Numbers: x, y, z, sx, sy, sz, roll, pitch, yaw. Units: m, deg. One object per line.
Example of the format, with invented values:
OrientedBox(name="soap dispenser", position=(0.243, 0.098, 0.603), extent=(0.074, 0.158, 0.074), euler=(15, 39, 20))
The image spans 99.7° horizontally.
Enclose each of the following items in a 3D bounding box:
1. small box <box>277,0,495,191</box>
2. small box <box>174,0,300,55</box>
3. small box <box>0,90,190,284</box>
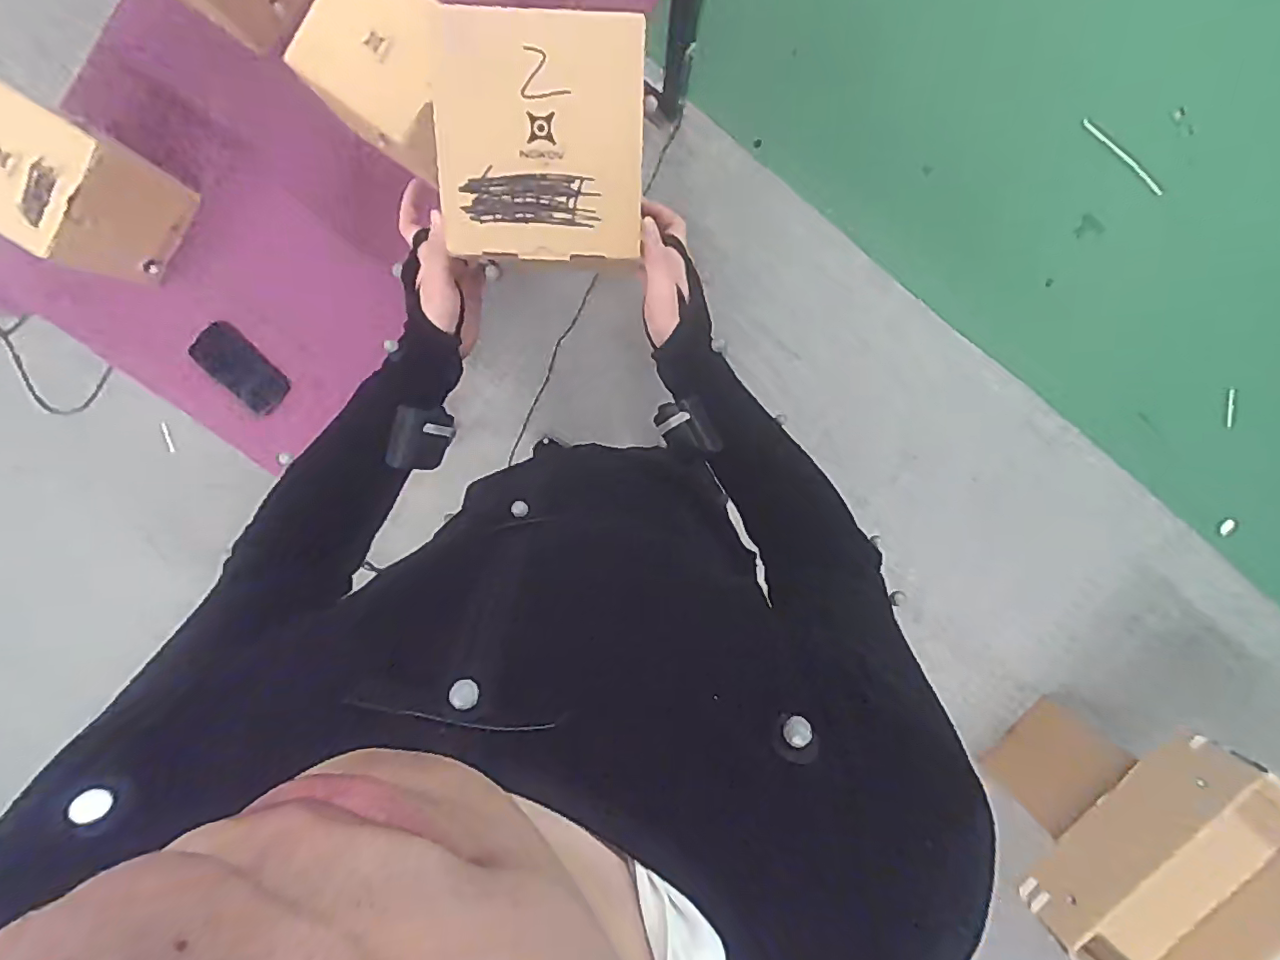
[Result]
OrientedBox(name="small box", position=(-0.328, -0.536, 0.735), extent=(0.179, 0.176, 0.168), euler=(34, 95, -4))
OrientedBox(name="small box", position=(-0.585, -0.722, 0.708), extent=(0.179, 0.176, 0.168), euler=(35, 96, -6))
OrientedBox(name="small box", position=(-0.788, -0.392, 0.744), extent=(0.179, 0.176, 0.168), euler=(32, 95, -4))
